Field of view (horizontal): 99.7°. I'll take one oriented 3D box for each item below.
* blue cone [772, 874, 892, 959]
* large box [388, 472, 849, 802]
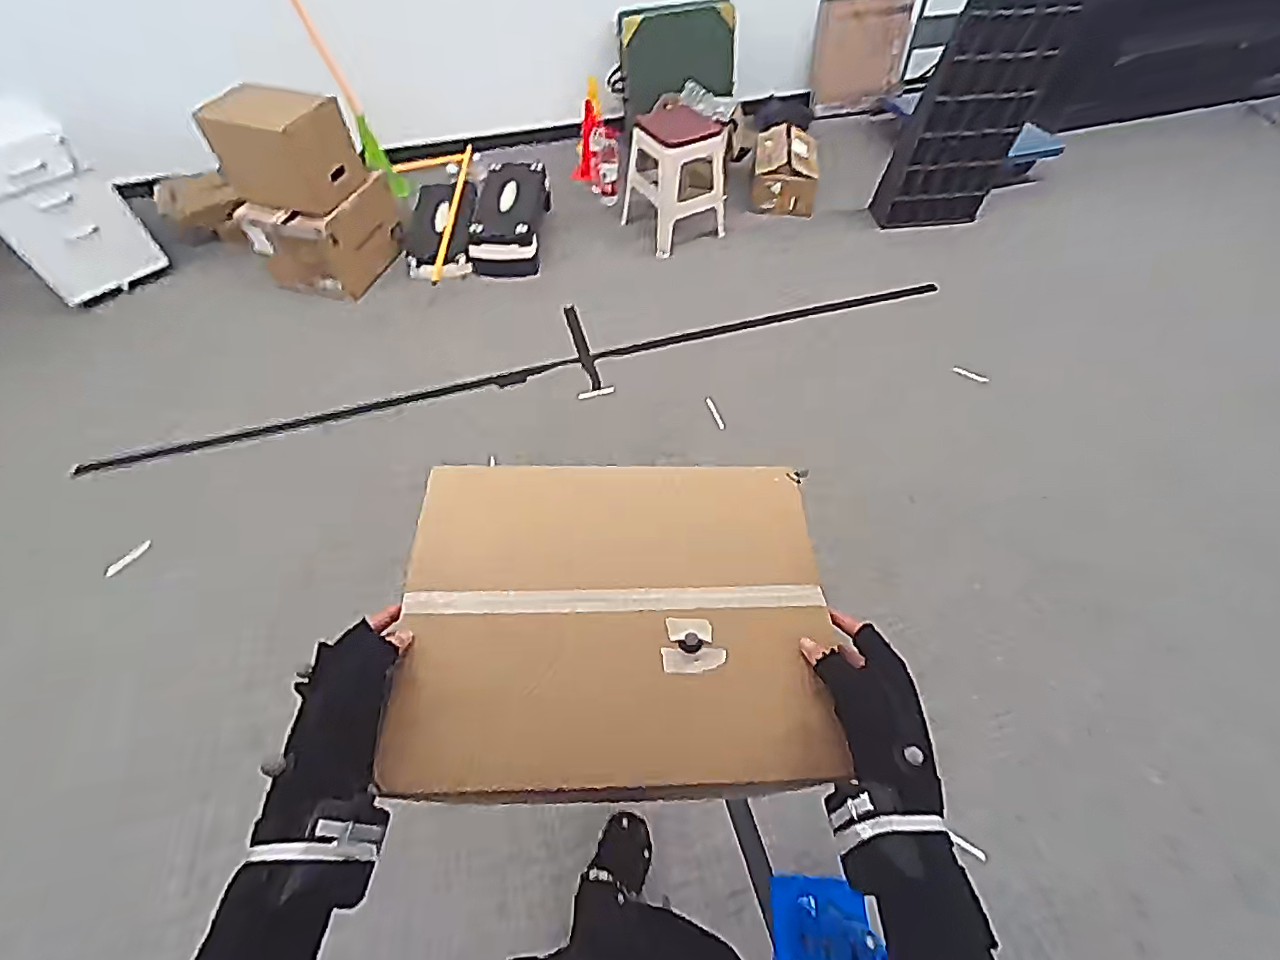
[{"bbox_3d":[0.375,0.837,0.984,0.193,0.380,0.192,3,54,2],"label":"blue cone"},{"bbox_3d":[-0.027,0.201,0.663,0.408,0.320,0.320,1,57,-3],"label":"large box"}]
